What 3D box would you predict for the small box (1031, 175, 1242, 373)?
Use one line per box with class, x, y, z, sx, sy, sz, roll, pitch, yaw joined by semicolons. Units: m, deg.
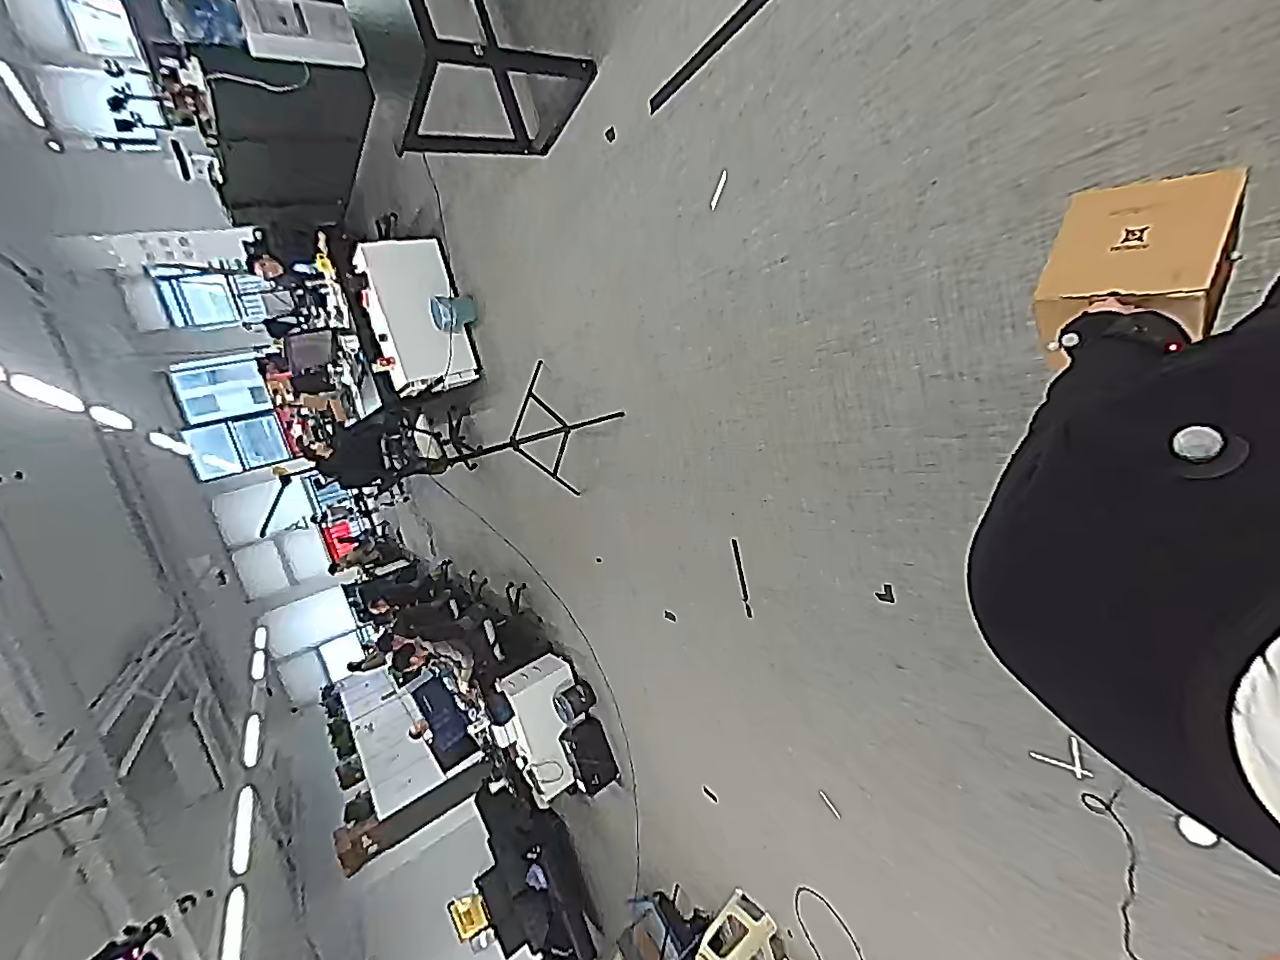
small box;0.658;-0.260;0.725;0.168;0.176;0.179;17;77;46
